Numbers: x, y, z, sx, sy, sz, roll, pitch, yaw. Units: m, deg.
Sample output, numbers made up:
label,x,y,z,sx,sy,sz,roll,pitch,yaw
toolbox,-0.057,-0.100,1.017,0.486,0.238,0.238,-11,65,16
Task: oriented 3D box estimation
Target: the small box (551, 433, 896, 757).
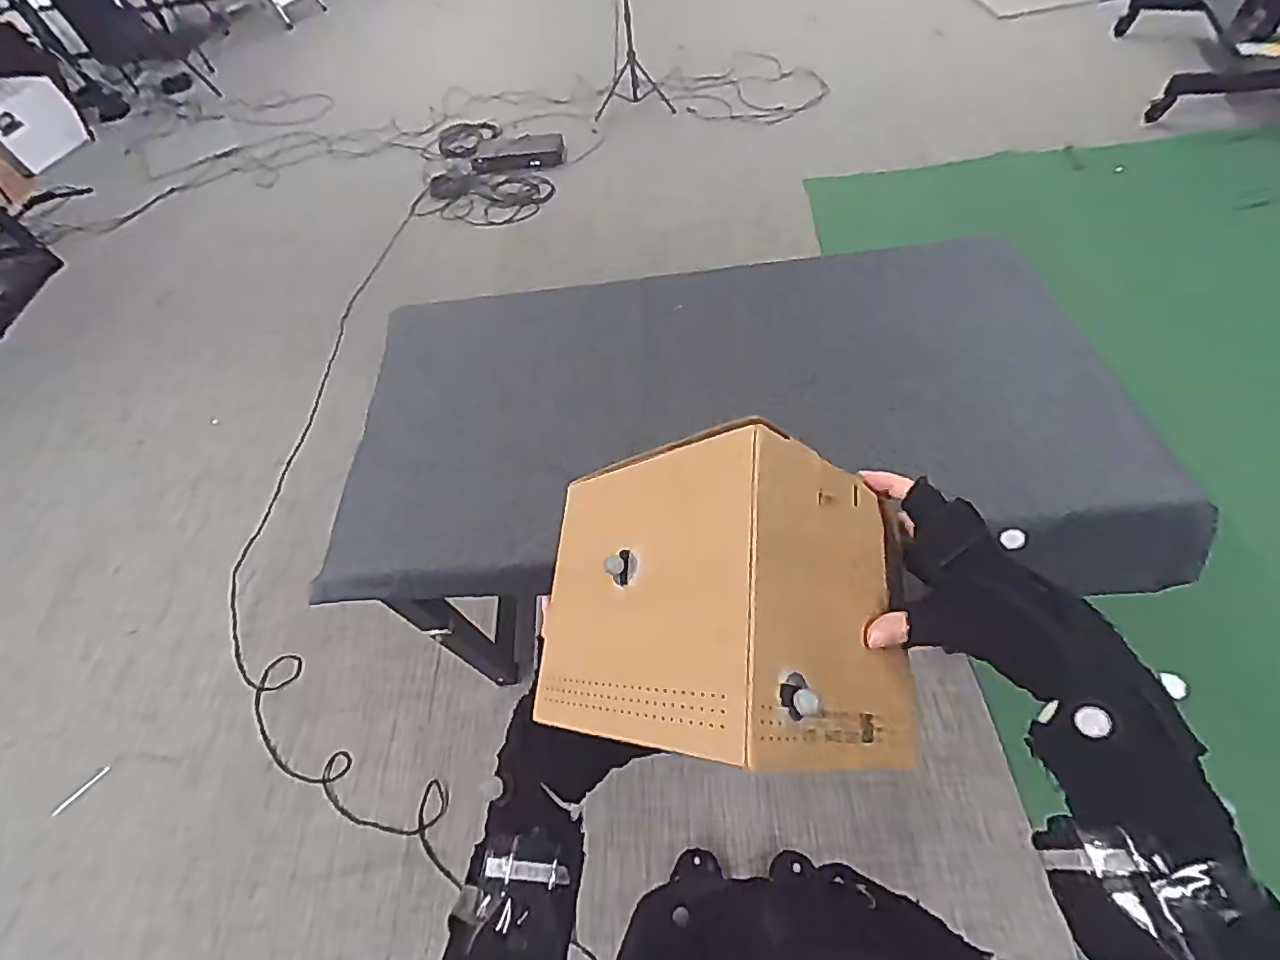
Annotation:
label,x,y,z,sx,sy,sz,roll,pitch,yaw
small box,0.058,0.091,0.380,0.179,0.168,0.176,-19,57,46
